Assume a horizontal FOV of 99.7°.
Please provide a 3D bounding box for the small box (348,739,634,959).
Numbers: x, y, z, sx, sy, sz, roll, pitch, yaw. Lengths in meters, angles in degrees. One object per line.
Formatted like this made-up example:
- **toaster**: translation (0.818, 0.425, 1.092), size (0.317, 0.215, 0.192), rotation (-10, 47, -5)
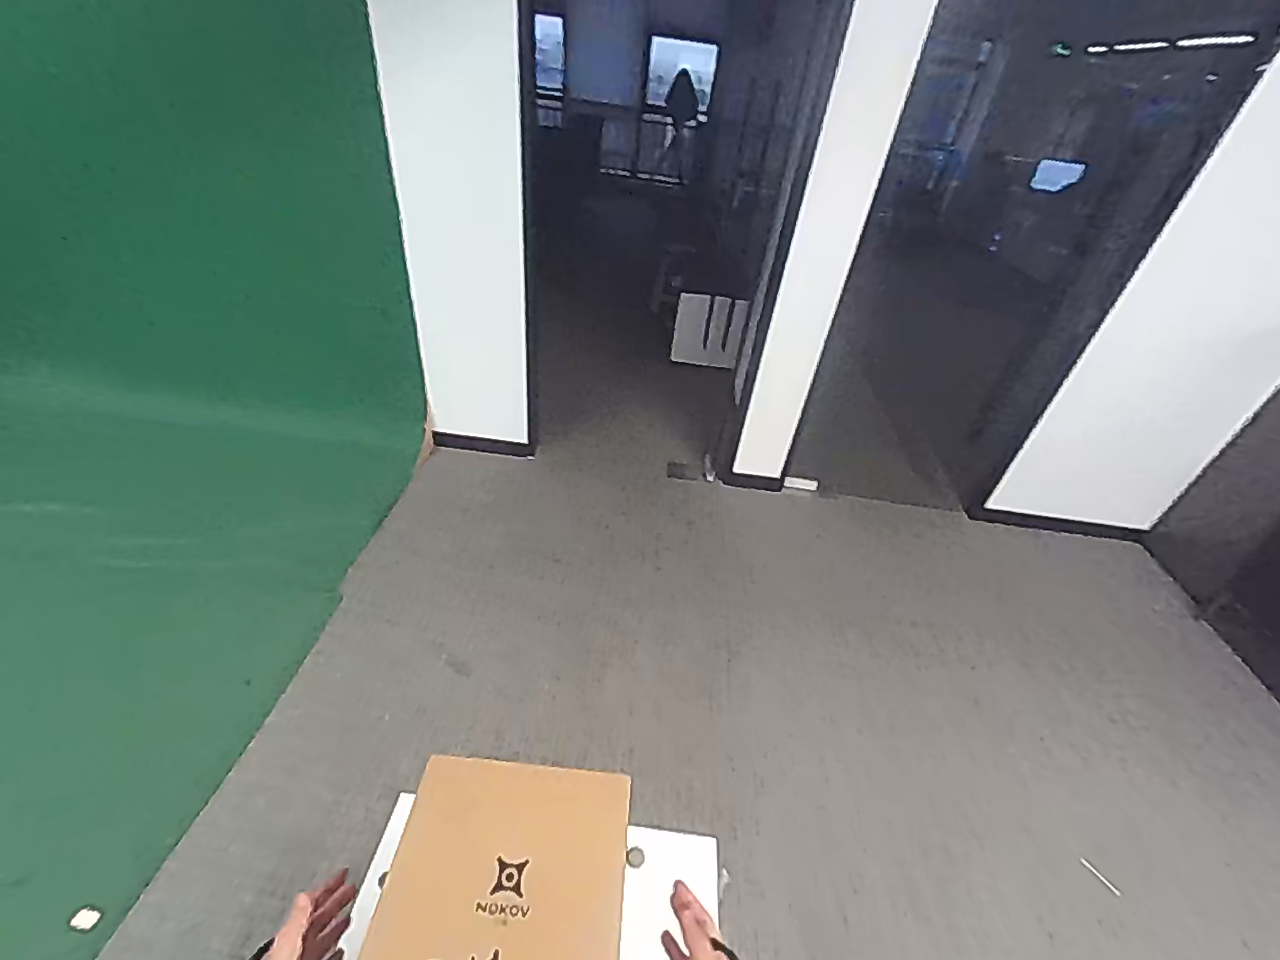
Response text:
- **small box**: translation (-0.100, 0.332, 0.412), size (0.168, 0.176, 0.179), rotation (7, 36, -1)
